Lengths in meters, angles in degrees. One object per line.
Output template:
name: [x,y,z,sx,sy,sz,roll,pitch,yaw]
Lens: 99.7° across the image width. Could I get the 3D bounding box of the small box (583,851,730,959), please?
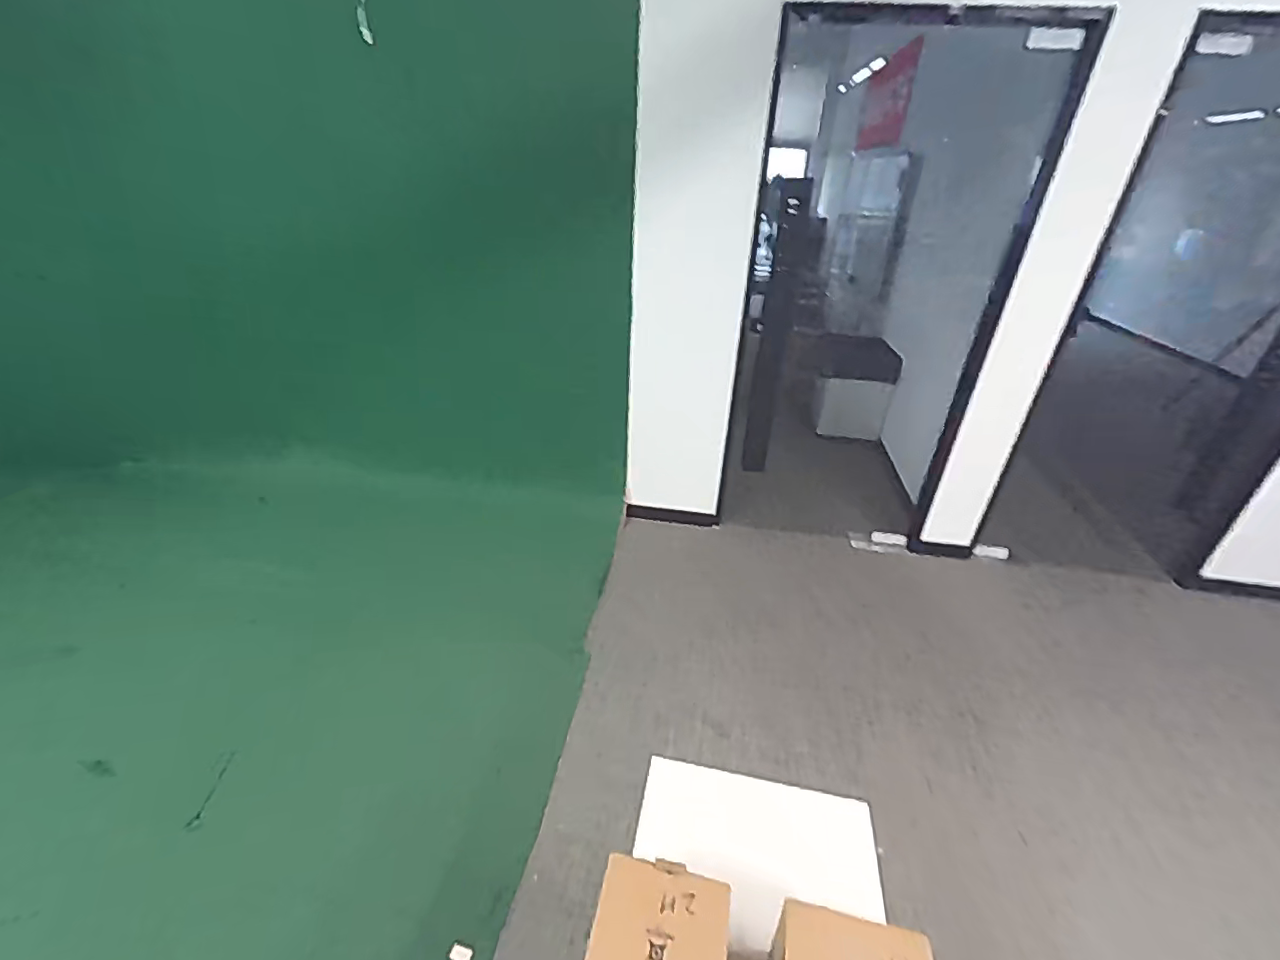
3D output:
small box: [0.015,0.627,0.687,0.168,0.176,0.179,11,31,9]
